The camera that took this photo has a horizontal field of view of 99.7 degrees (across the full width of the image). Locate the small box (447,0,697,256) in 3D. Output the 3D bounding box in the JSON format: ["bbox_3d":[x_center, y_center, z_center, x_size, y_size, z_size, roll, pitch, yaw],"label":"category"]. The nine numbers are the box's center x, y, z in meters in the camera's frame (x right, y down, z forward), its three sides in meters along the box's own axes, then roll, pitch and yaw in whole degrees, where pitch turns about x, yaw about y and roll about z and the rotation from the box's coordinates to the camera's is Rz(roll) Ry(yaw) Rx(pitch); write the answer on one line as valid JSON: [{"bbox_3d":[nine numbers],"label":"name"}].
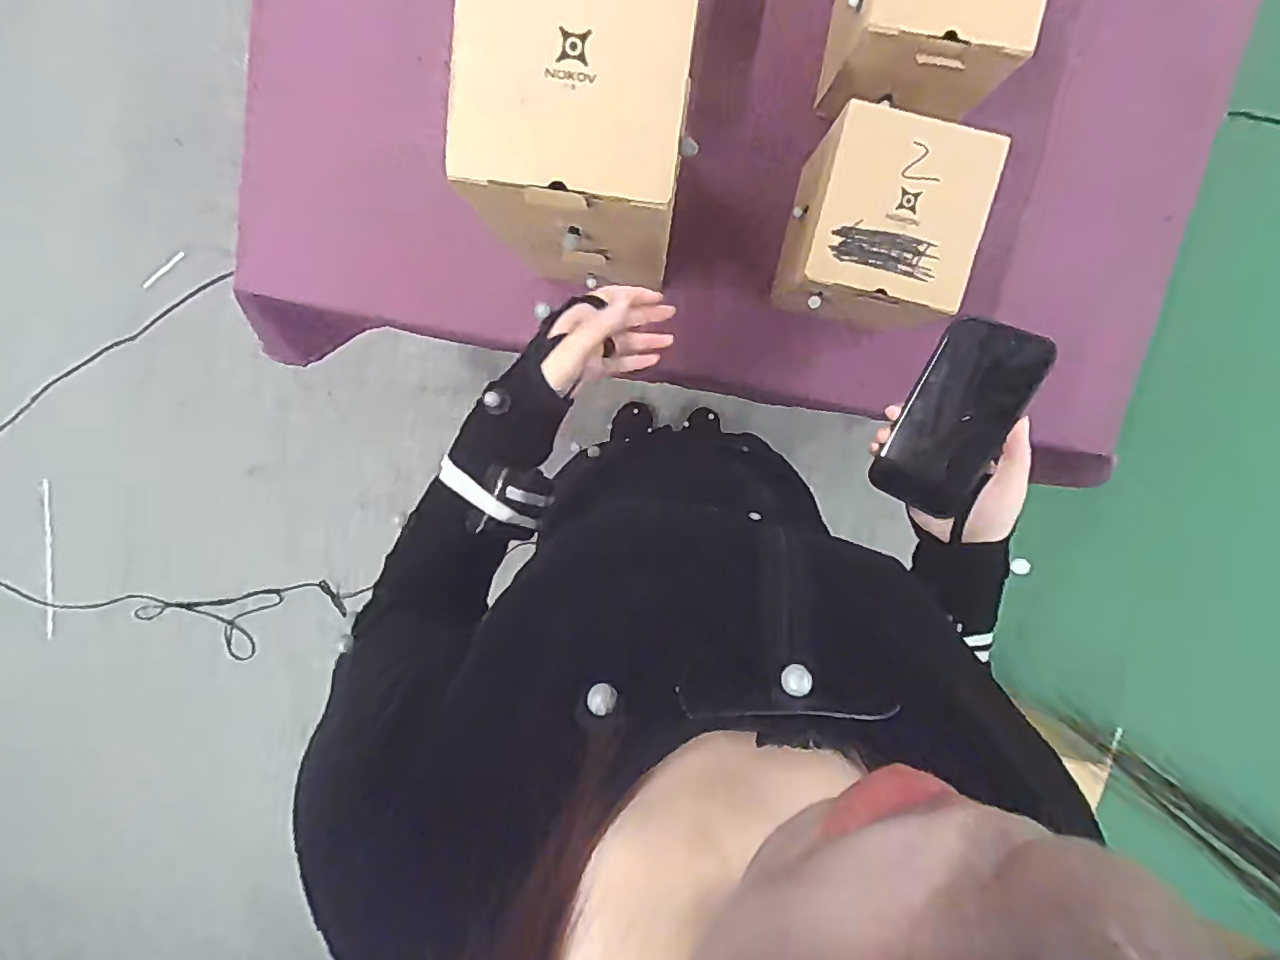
[{"bbox_3d":[-0.047,-0.302,0.455,0.168,0.176,0.179,7,100,-1],"label":"small box"}]

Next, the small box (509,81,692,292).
[{"bbox_3d":[-0.041,-0.331,0.618,0.168,0.176,0.179,8,99,0],"label":"small box"}]

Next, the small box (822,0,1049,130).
[{"bbox_3d":[0.312,-0.519,0.581,0.168,0.176,0.179,8,101,0],"label":"small box"}]
